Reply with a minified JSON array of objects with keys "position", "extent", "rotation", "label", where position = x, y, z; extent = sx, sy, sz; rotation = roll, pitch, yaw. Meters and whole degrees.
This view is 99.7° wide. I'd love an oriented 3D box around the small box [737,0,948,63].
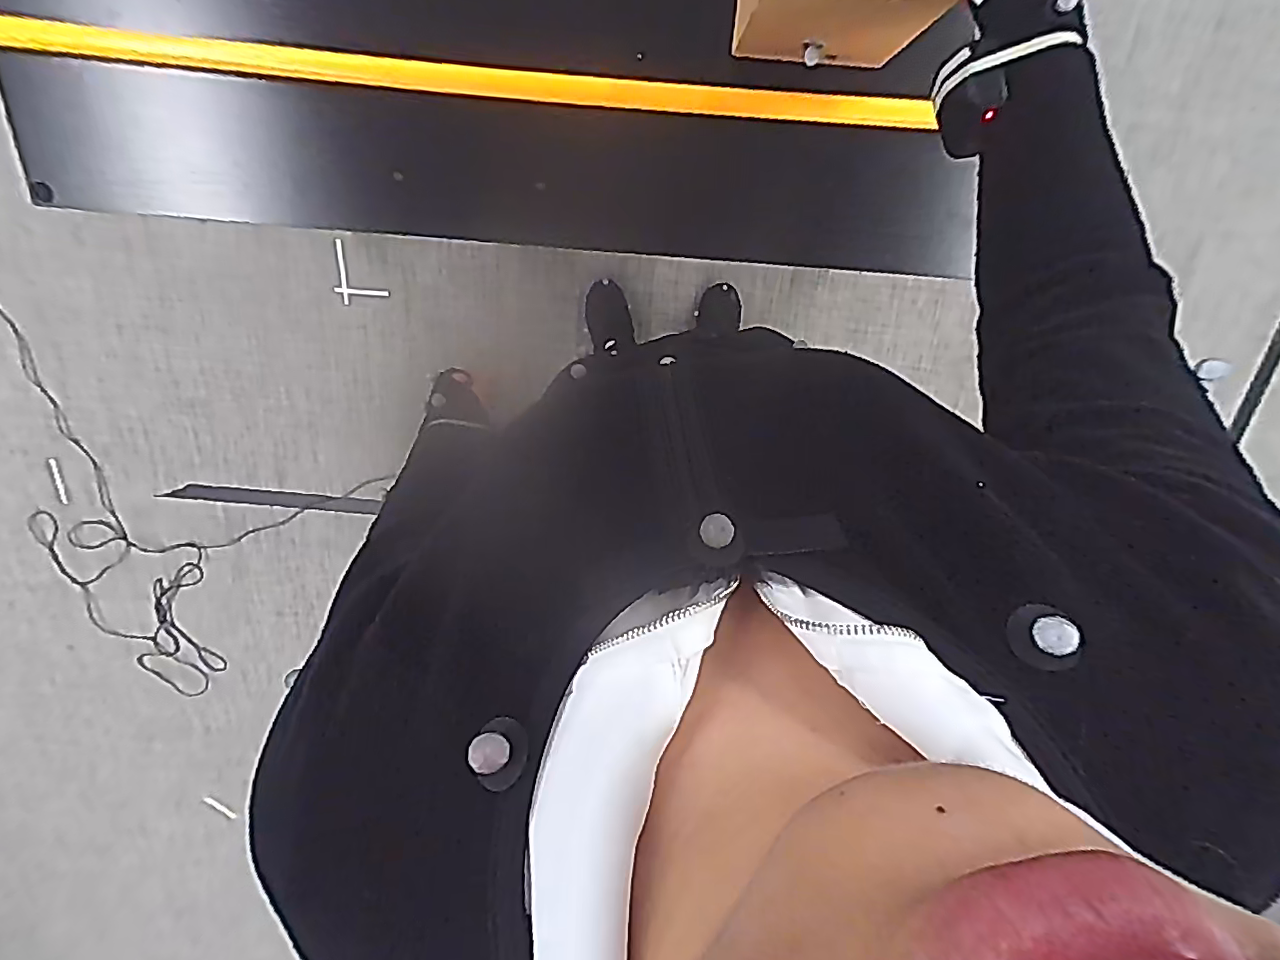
[{"position":[0.189,-0.518,0.488],"extent":[0.168,0.176,0.179],"rotation":[4,112,-1],"label":"small box"}]
